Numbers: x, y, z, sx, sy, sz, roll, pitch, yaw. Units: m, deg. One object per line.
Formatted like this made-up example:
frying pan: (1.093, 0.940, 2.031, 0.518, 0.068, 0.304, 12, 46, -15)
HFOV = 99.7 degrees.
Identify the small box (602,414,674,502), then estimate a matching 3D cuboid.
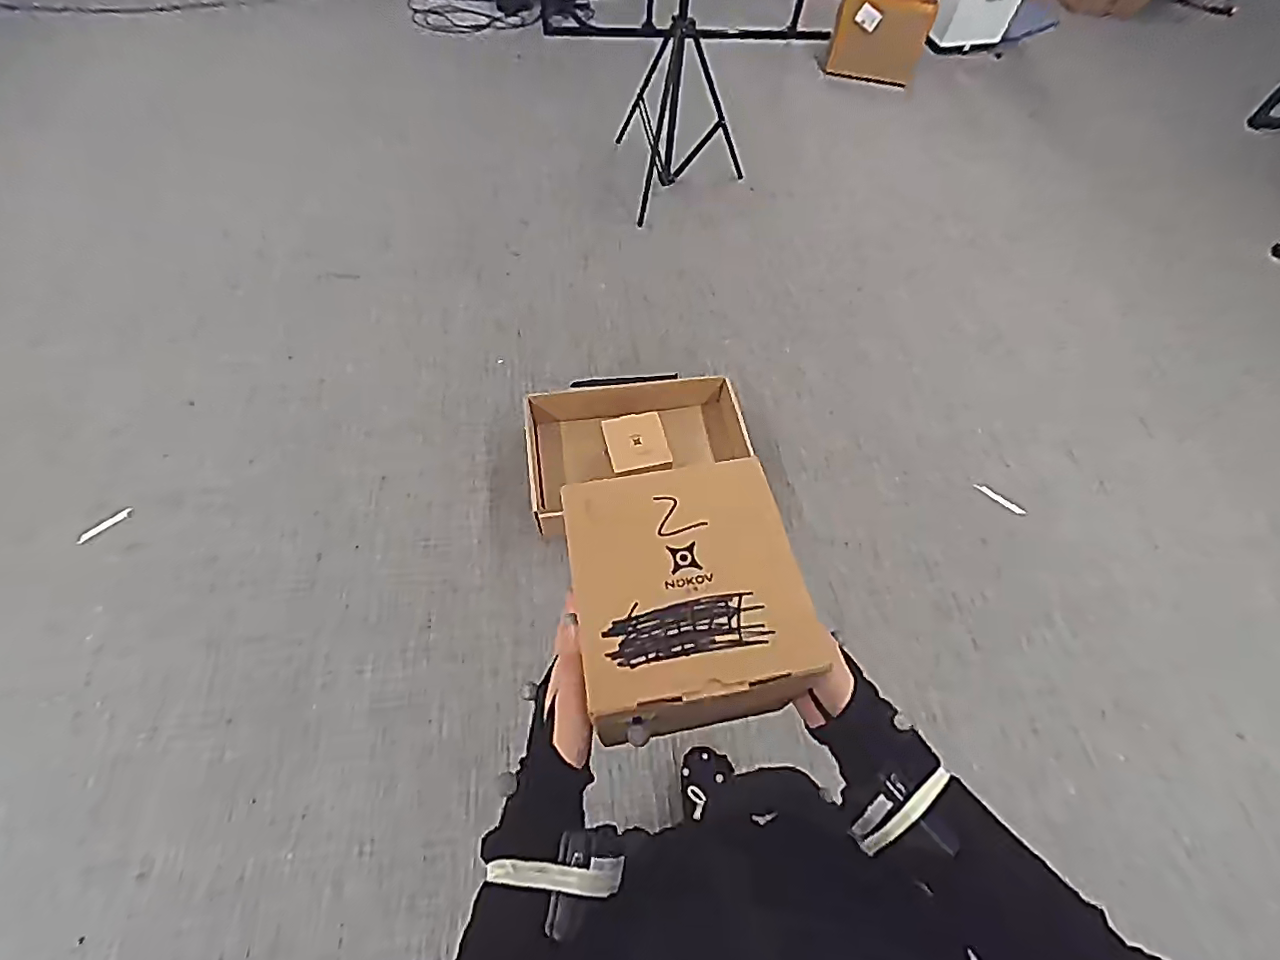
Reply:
small box: (-0.013, -0.060, 1.550, 0.168, 0.176, 0.179, -12, 63, -10)
